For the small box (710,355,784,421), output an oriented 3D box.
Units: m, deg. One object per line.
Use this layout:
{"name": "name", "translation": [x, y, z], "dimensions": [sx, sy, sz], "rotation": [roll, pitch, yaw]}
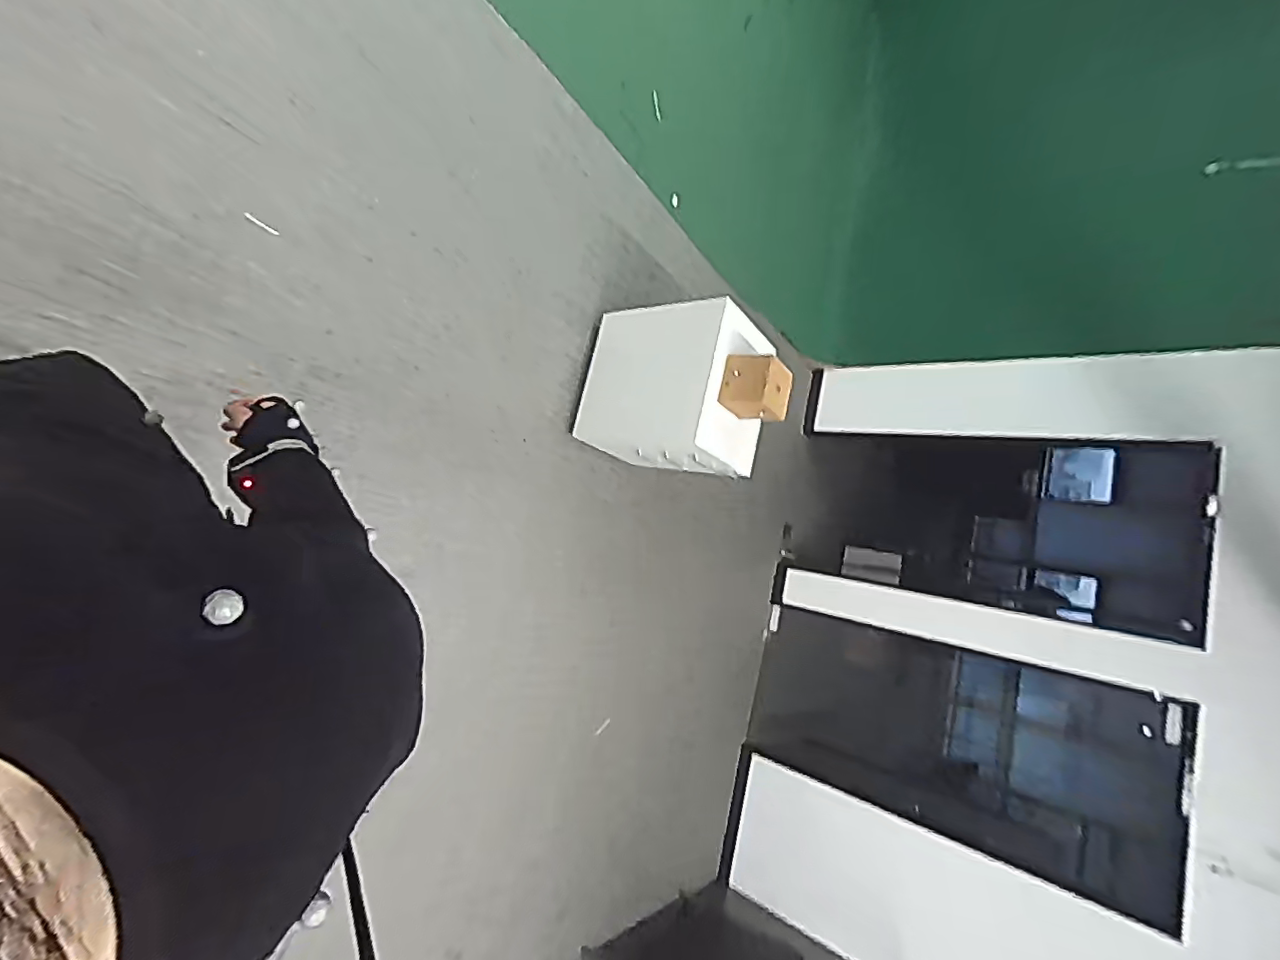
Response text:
{"name": "small box", "translation": [0.356, -0.305, 1.800], "dimensions": [0.179, 0.176, 0.168], "rotation": [24, 76, -52]}
